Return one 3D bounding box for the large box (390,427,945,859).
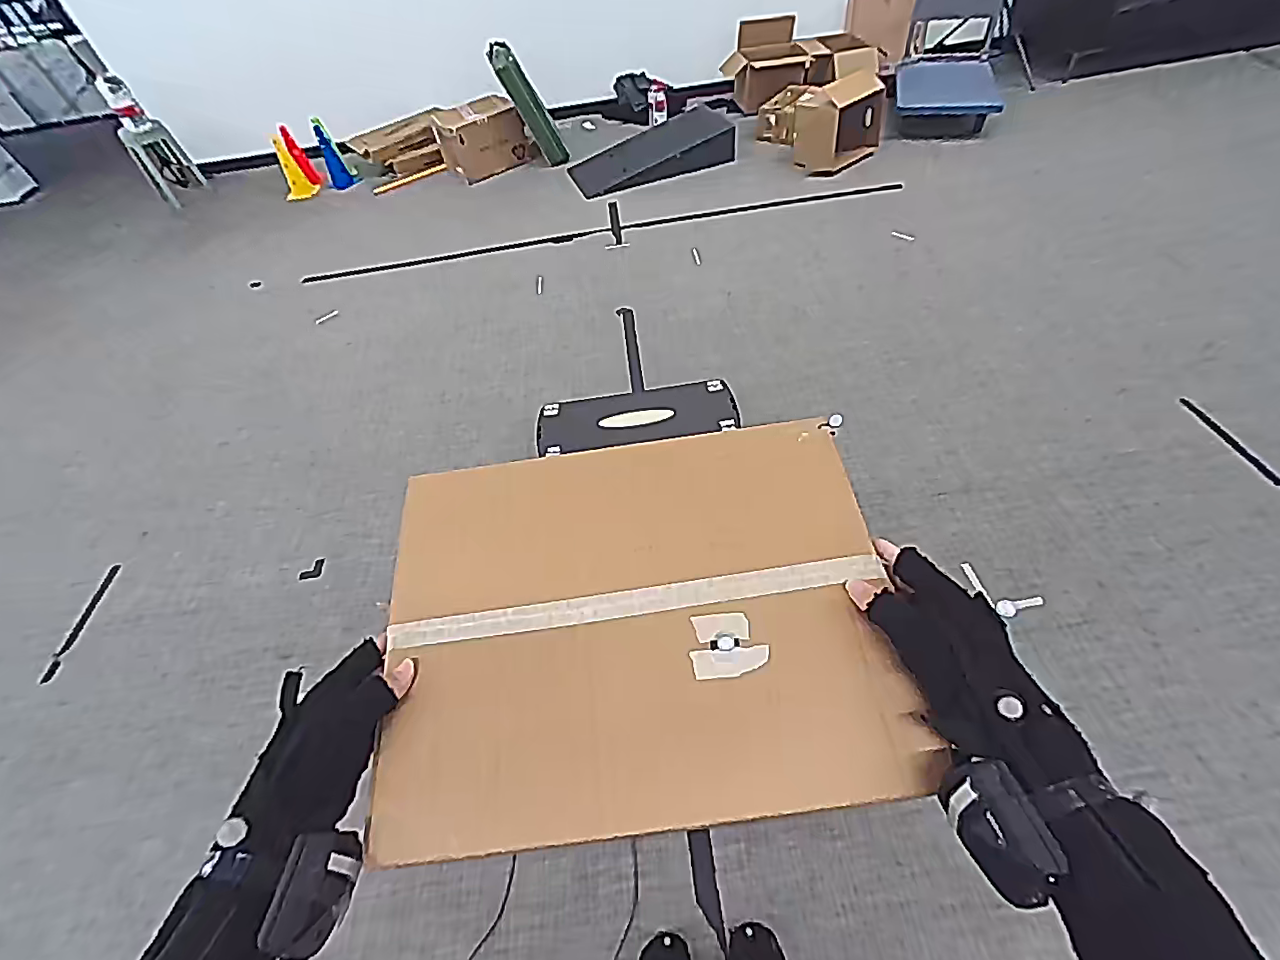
[{"bbox_3d":[0.012,0.183,0.580,0.408,0.320,0.320,-8,59,1],"label":"large box"}]

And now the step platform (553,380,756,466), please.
[{"bbox_3d":[0.047,-0.144,1.855,0.684,0.204,0.286,-9,51,0],"label":"step platform"}]
